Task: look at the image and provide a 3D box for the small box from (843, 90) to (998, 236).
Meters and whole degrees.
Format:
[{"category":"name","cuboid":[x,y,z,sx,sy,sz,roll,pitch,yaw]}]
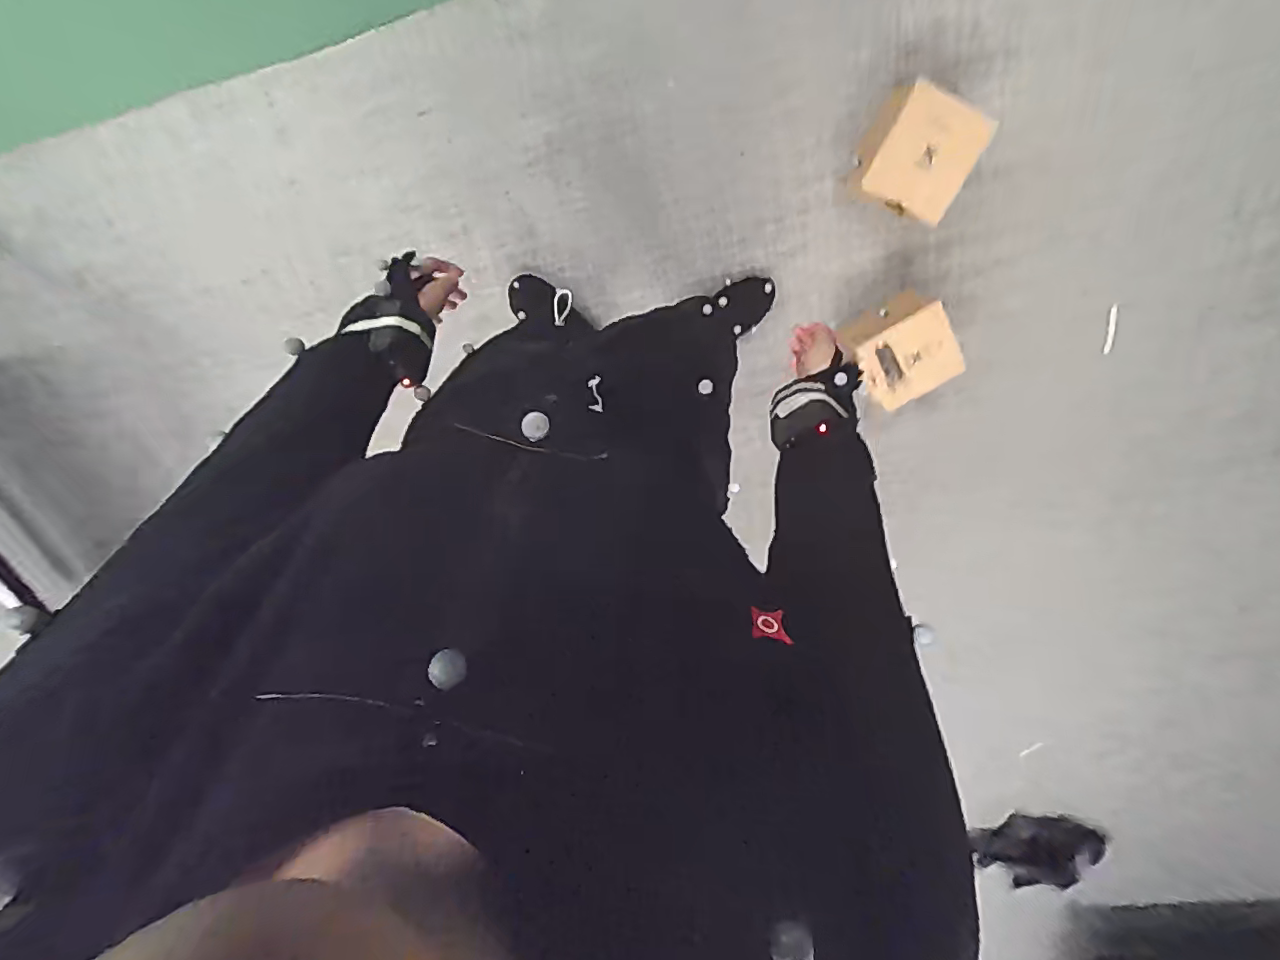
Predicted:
[{"category":"small box","cuboid":[0.506,-0.581,1.013,0.168,0.176,0.179,22,115,-8]}]
